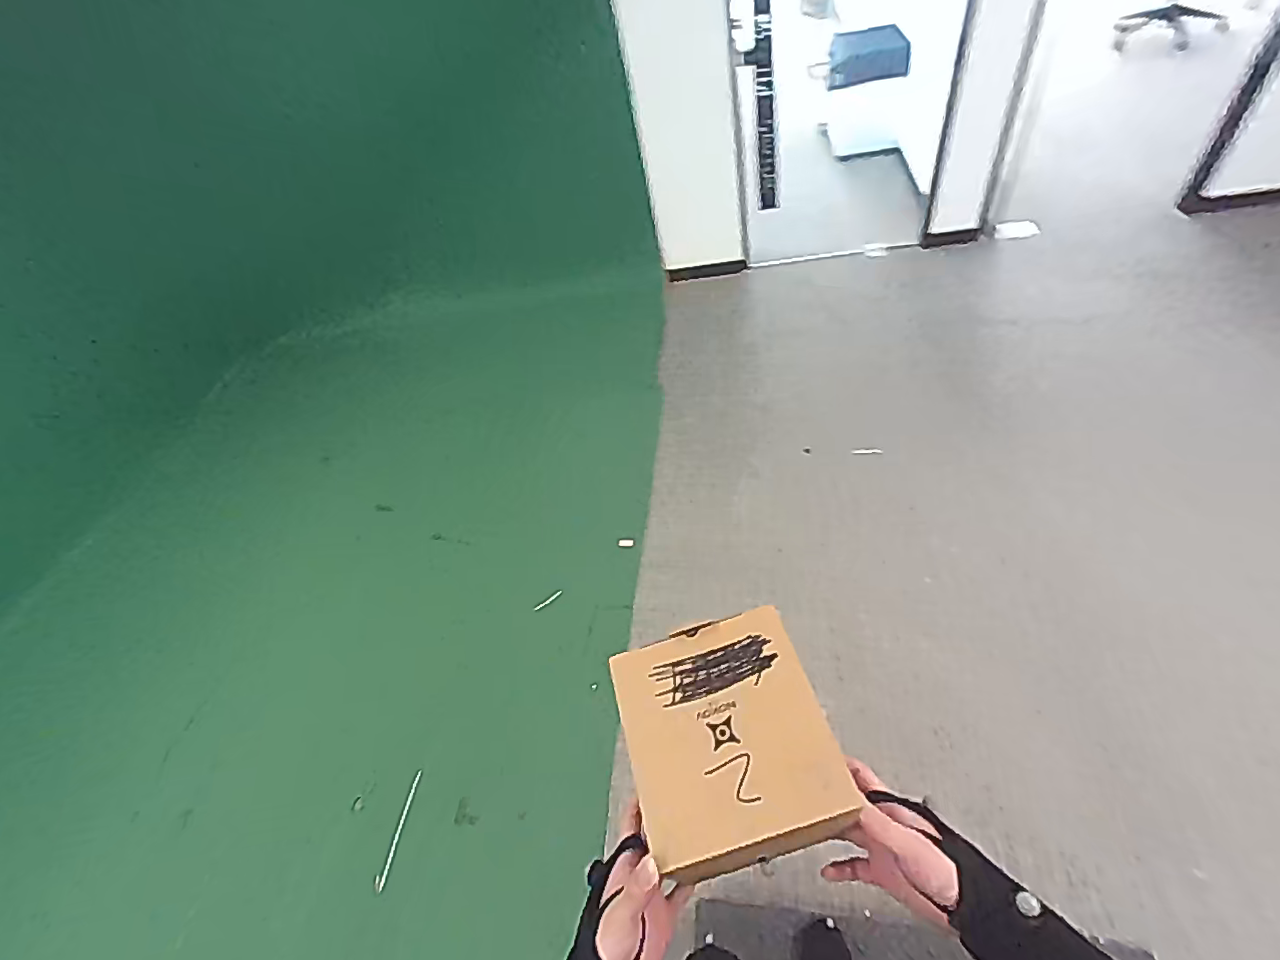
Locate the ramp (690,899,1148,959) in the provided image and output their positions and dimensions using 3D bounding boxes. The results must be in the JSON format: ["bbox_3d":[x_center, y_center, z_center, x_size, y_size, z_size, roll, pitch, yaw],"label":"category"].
[{"bbox_3d":[0.592,1.192,1.074,0.991,0.206,0.509,-4,50,11],"label":"ramp"}]
